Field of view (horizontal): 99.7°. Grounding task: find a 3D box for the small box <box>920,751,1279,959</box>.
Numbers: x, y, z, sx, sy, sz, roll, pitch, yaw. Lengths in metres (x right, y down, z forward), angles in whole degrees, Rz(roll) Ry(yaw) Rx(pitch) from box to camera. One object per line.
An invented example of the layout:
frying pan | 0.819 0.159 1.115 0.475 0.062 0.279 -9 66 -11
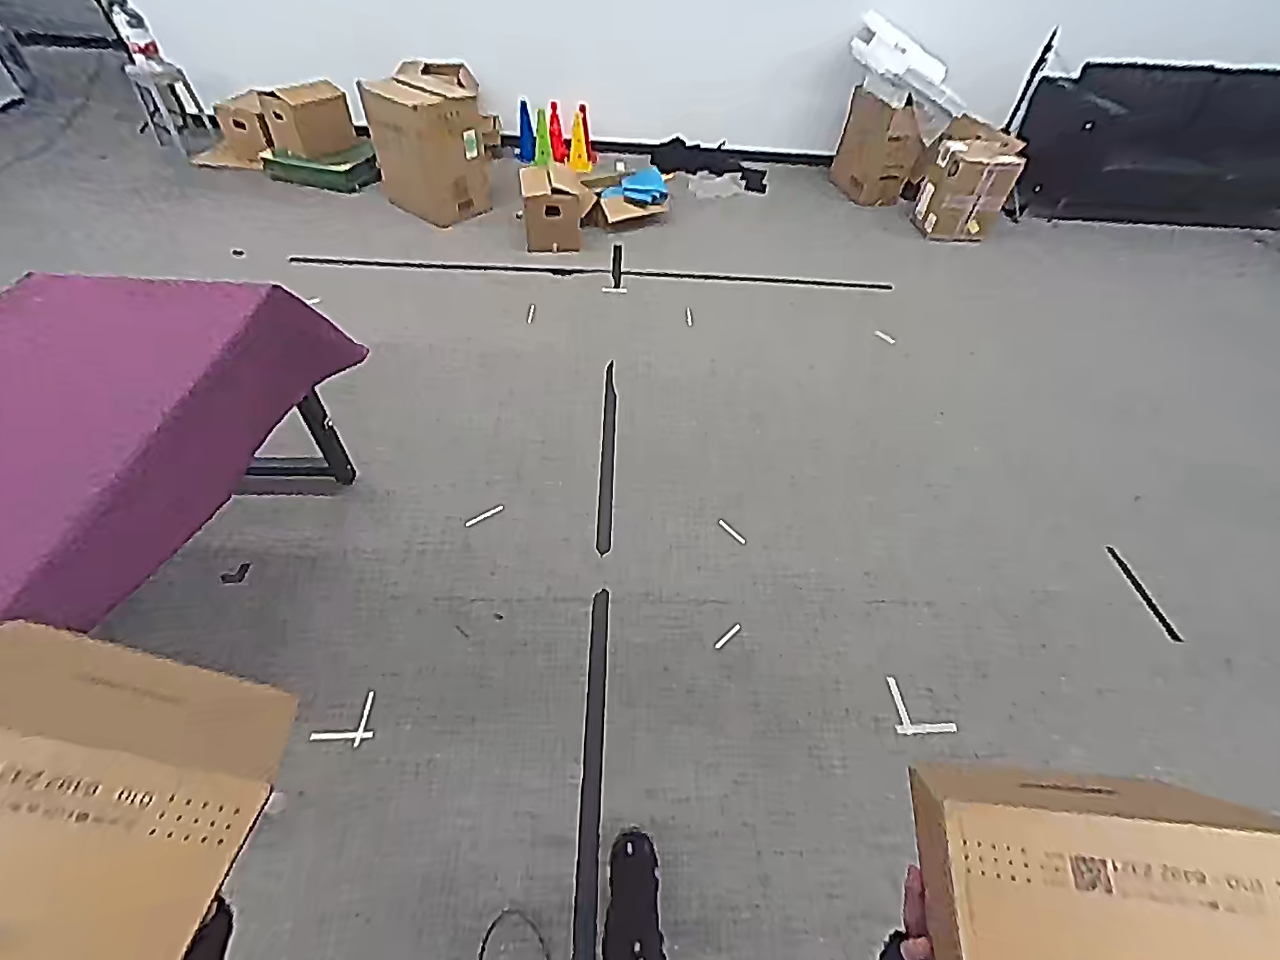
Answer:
small box | 0.263 0.255 0.302 0.168 0.179 0.176 -4 70 20

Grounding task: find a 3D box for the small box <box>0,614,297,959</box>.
small box | -0.297 0.173 0.261 0.168 0.179 0.176 30 69 -22
